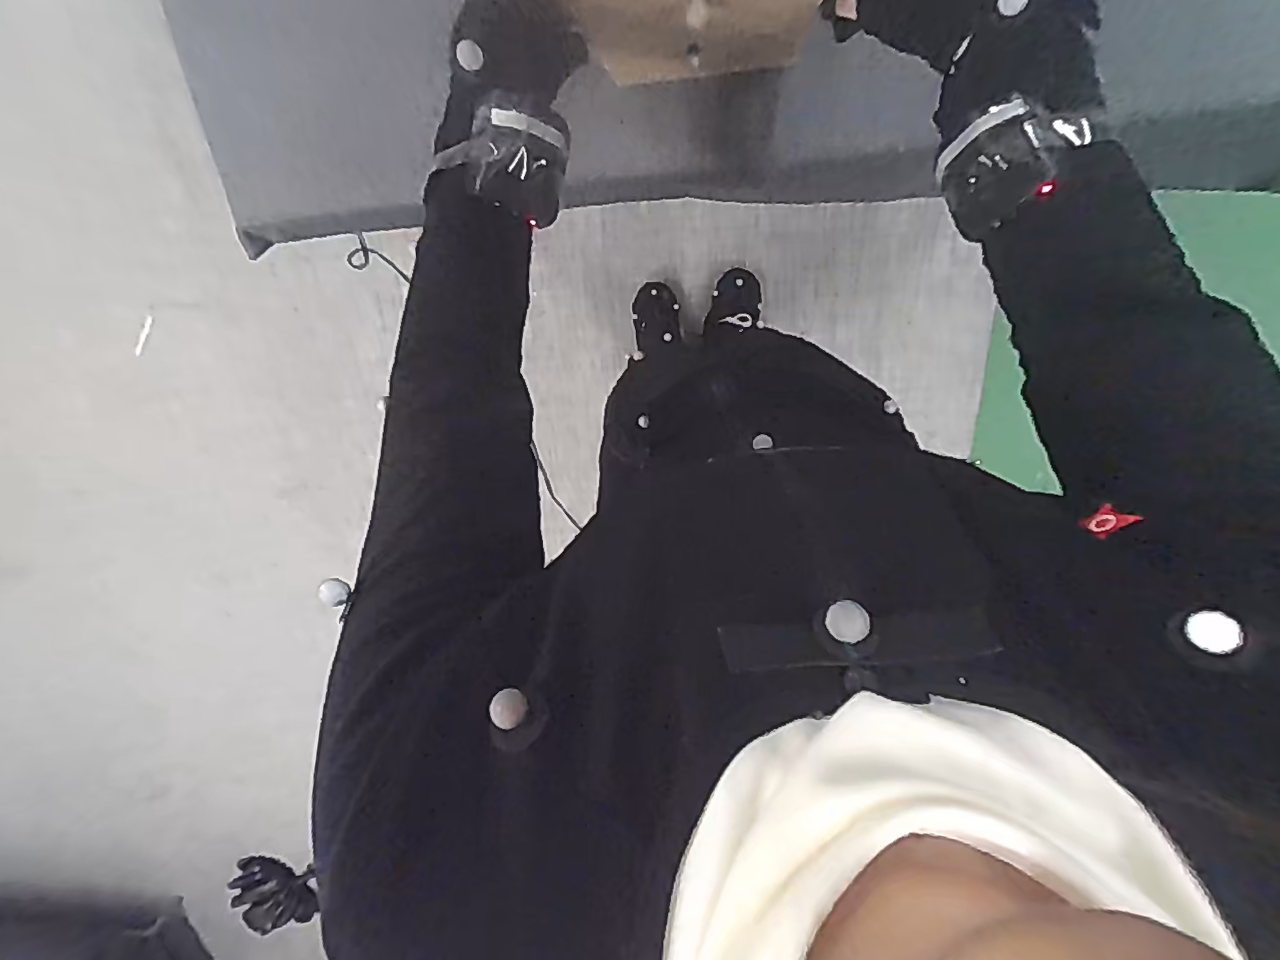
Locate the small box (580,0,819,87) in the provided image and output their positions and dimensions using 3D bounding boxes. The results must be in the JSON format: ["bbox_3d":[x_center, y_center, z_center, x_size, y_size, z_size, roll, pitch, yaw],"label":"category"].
[{"bbox_3d":[0.046,-0.440,0.432,0.179,0.176,0.168,-1,113,9],"label":"small box"}]

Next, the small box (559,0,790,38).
[{"bbox_3d":[0.024,-0.372,0.287,0.179,0.176,0.168,-2,113,10],"label":"small box"}]
